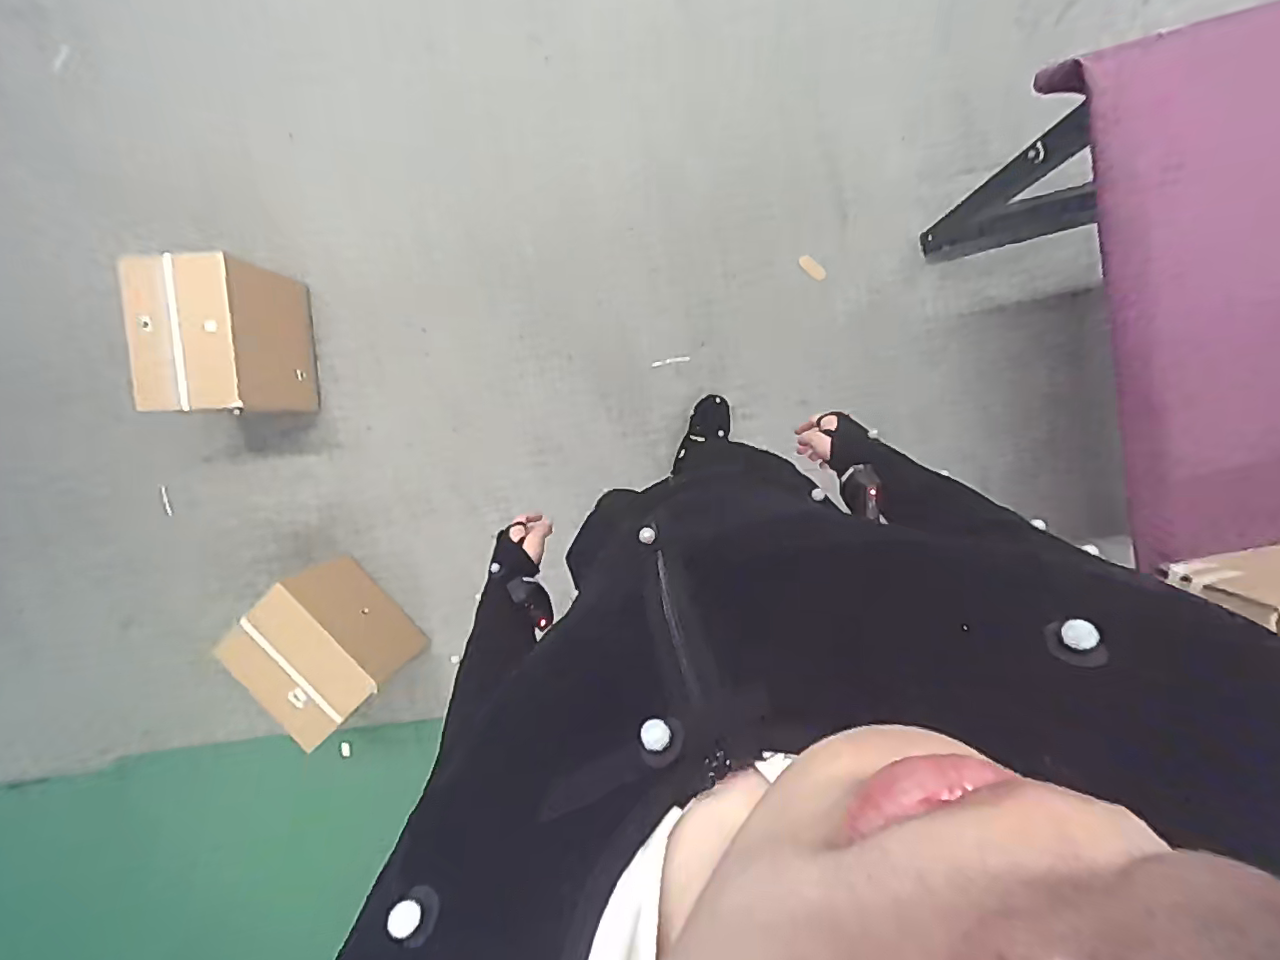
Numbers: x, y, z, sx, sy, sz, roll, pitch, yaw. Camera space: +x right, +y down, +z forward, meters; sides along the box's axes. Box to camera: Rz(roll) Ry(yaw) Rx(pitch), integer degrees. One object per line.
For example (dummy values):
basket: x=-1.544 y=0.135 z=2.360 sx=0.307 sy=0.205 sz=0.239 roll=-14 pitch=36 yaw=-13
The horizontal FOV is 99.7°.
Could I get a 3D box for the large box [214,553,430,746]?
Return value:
large box: x=-0.944 y=0.494 z=1.648 sx=0.320 sy=0.320 sz=0.408 roll=-44 pitch=92 yaw=10
